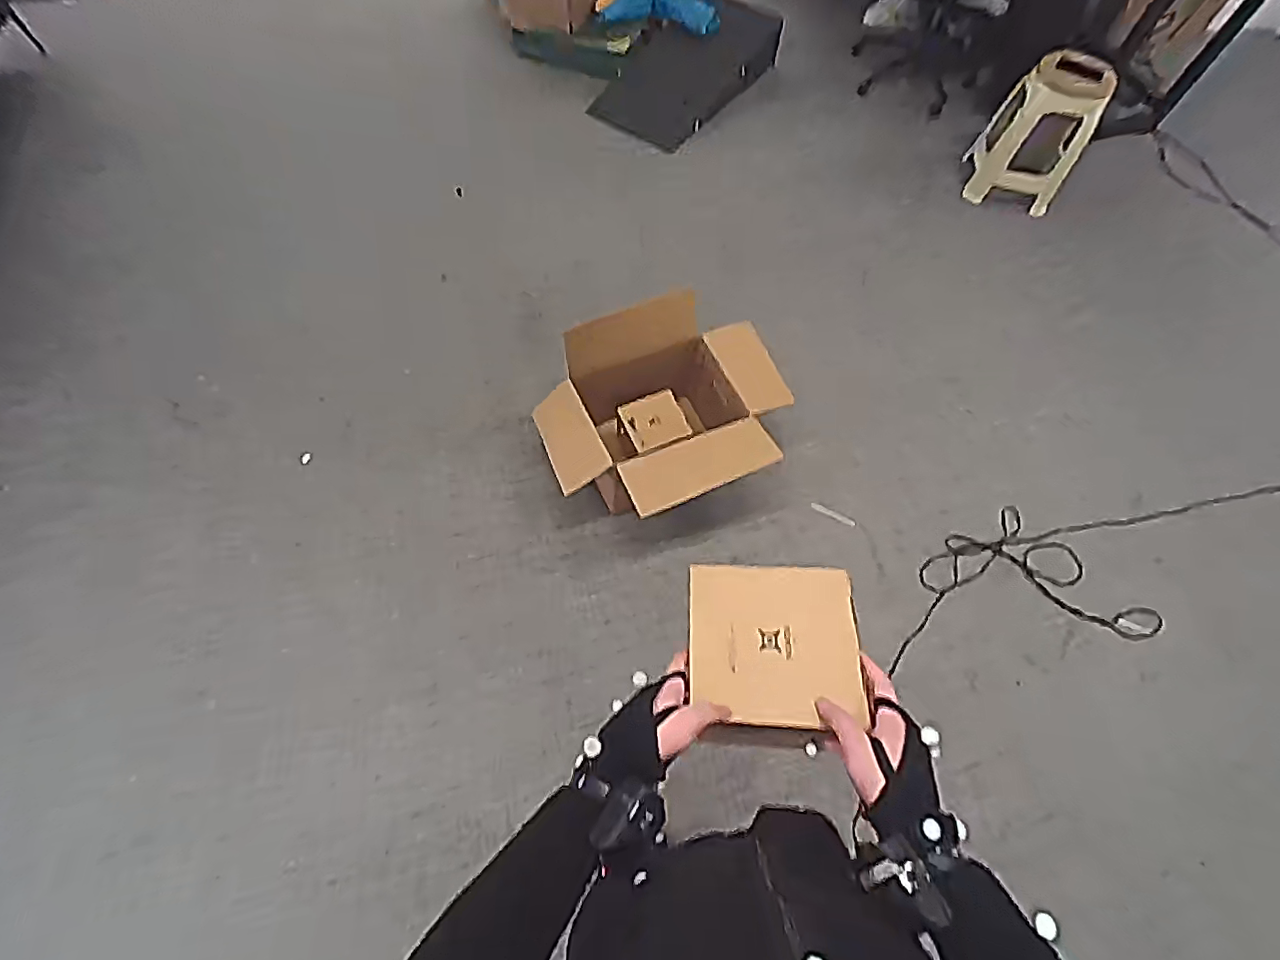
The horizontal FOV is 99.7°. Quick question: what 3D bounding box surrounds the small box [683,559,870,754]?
[{"bbox_3d":[0.142,0.206,0.619,0.179,0.176,0.168,2,55,8],"label":"small box"}]
